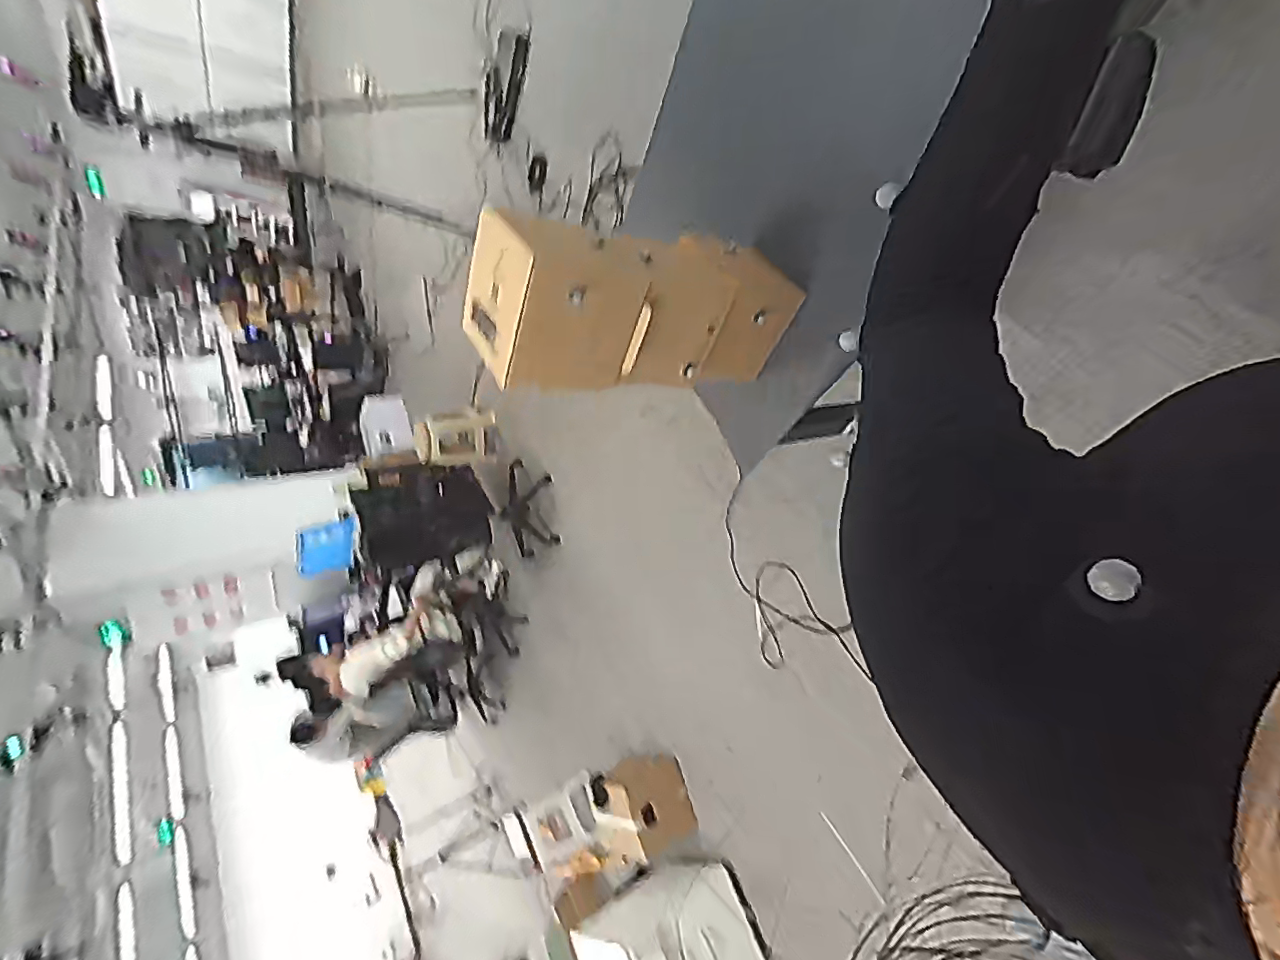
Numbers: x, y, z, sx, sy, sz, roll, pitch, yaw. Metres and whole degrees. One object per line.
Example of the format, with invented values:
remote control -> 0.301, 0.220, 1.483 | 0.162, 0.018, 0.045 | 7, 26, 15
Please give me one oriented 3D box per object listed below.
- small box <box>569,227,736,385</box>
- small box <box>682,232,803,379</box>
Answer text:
small box -> 0.017, -0.265, 0.837 | 0.179, 0.176, 0.168 | 53, 135, 34
small box -> 0.150, -0.293, 0.929 | 0.168, 0.176, 0.179 | 57, 138, 31
